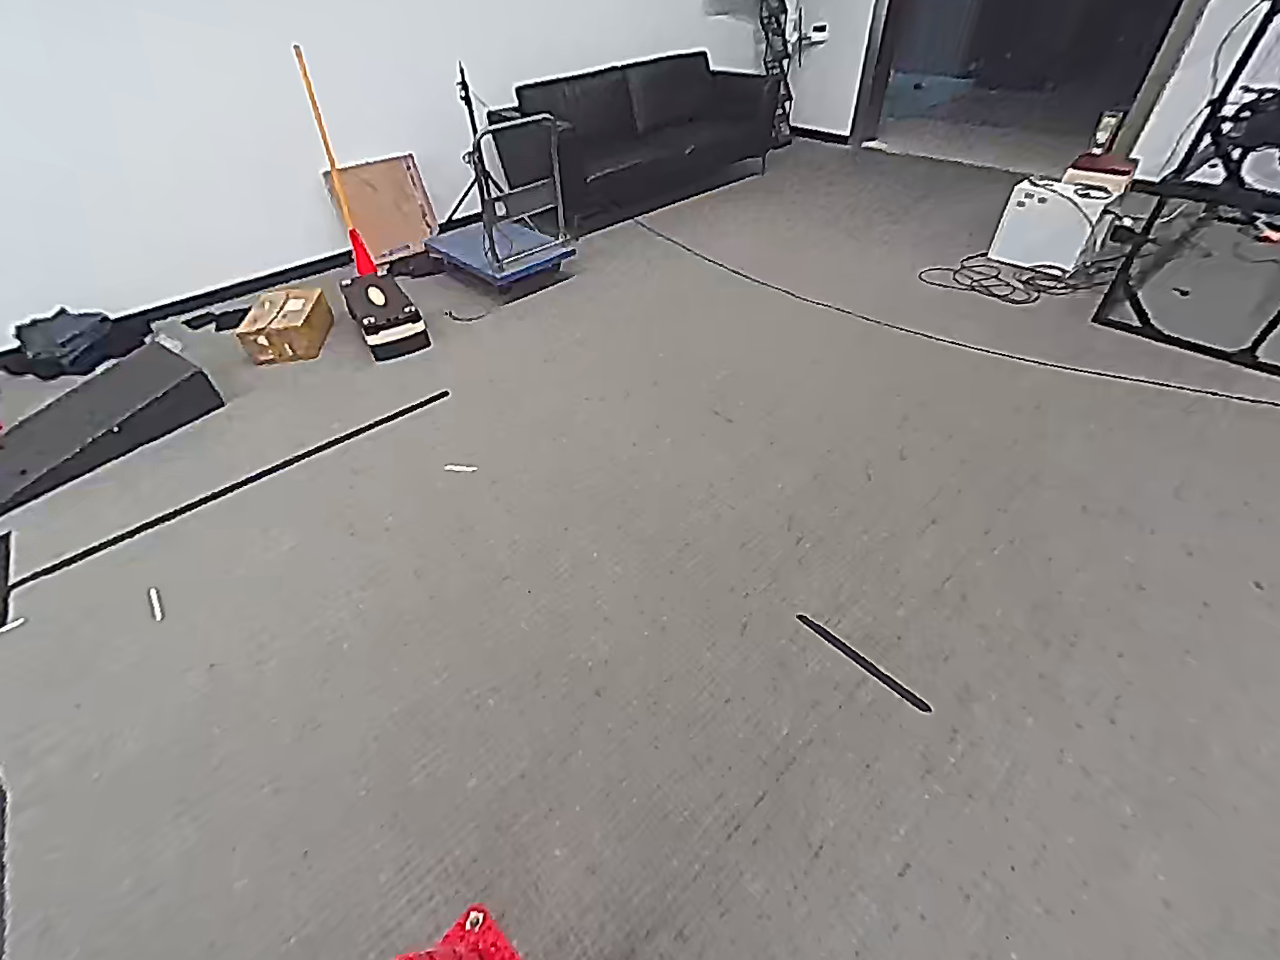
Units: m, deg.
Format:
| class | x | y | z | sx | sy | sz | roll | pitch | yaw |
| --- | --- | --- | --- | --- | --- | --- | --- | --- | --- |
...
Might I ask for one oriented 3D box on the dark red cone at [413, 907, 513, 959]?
| class | x | y | z | sx | sy | sz | roll | pitch | yaw |
| --- | --- | --- | --- | --- | --- | --- | --- | --- | --- |
| dark red cone | -0.340 | 0.813 | 0.858 | 0.202 | 0.394 | 0.201 | 30 | 54 | 30 |
